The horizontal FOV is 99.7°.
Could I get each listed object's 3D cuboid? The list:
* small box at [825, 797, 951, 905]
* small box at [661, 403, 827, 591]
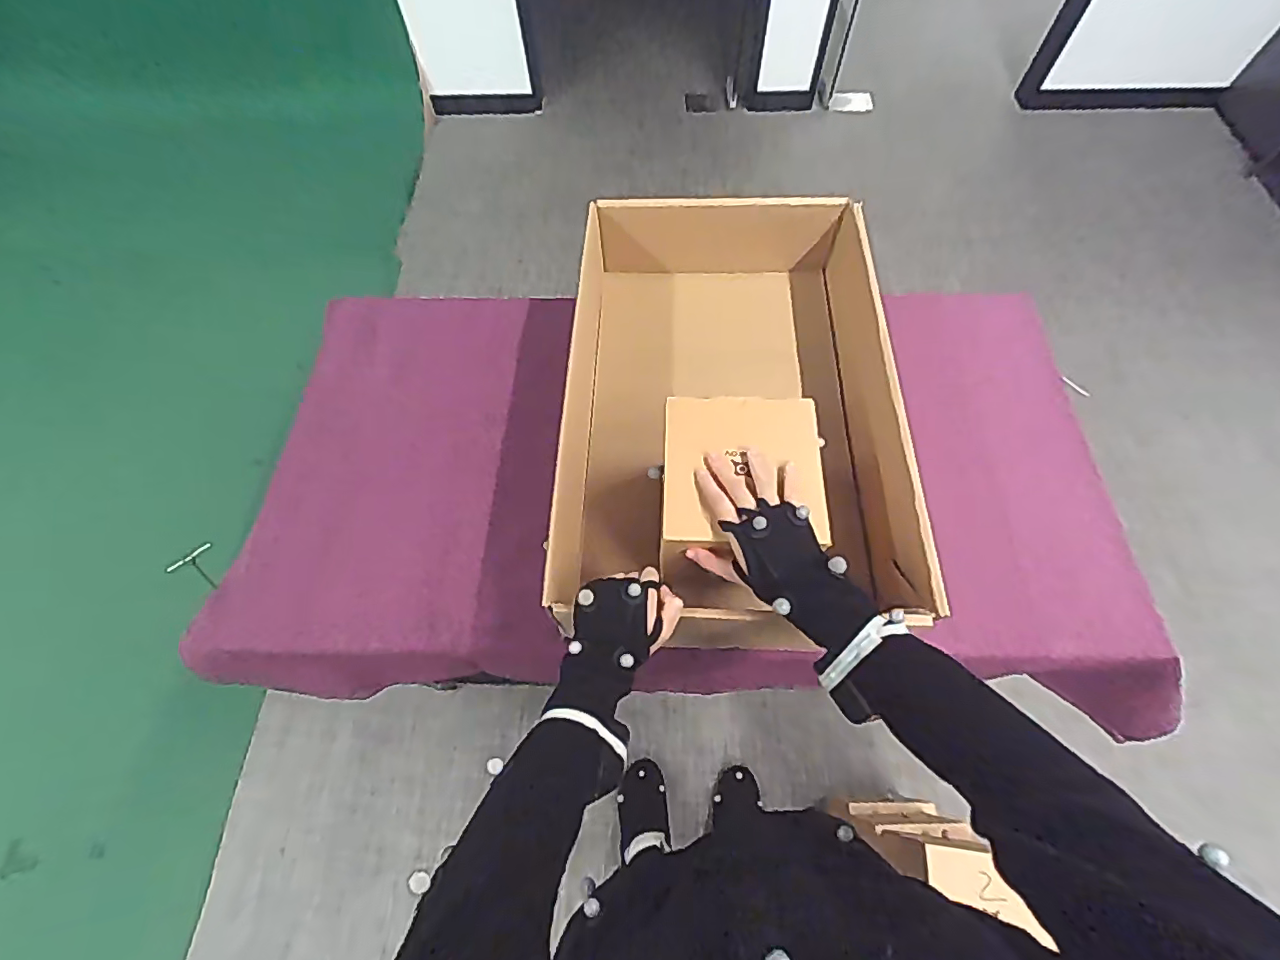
[{"bbox_3d":[0.507,0.766,1.131,0.179,0.176,0.168,-1,64,2],"label":"small box"},{"bbox_3d":[0.111,0.027,0.640,0.168,0.176,0.179,1,63,3],"label":"small box"}]
